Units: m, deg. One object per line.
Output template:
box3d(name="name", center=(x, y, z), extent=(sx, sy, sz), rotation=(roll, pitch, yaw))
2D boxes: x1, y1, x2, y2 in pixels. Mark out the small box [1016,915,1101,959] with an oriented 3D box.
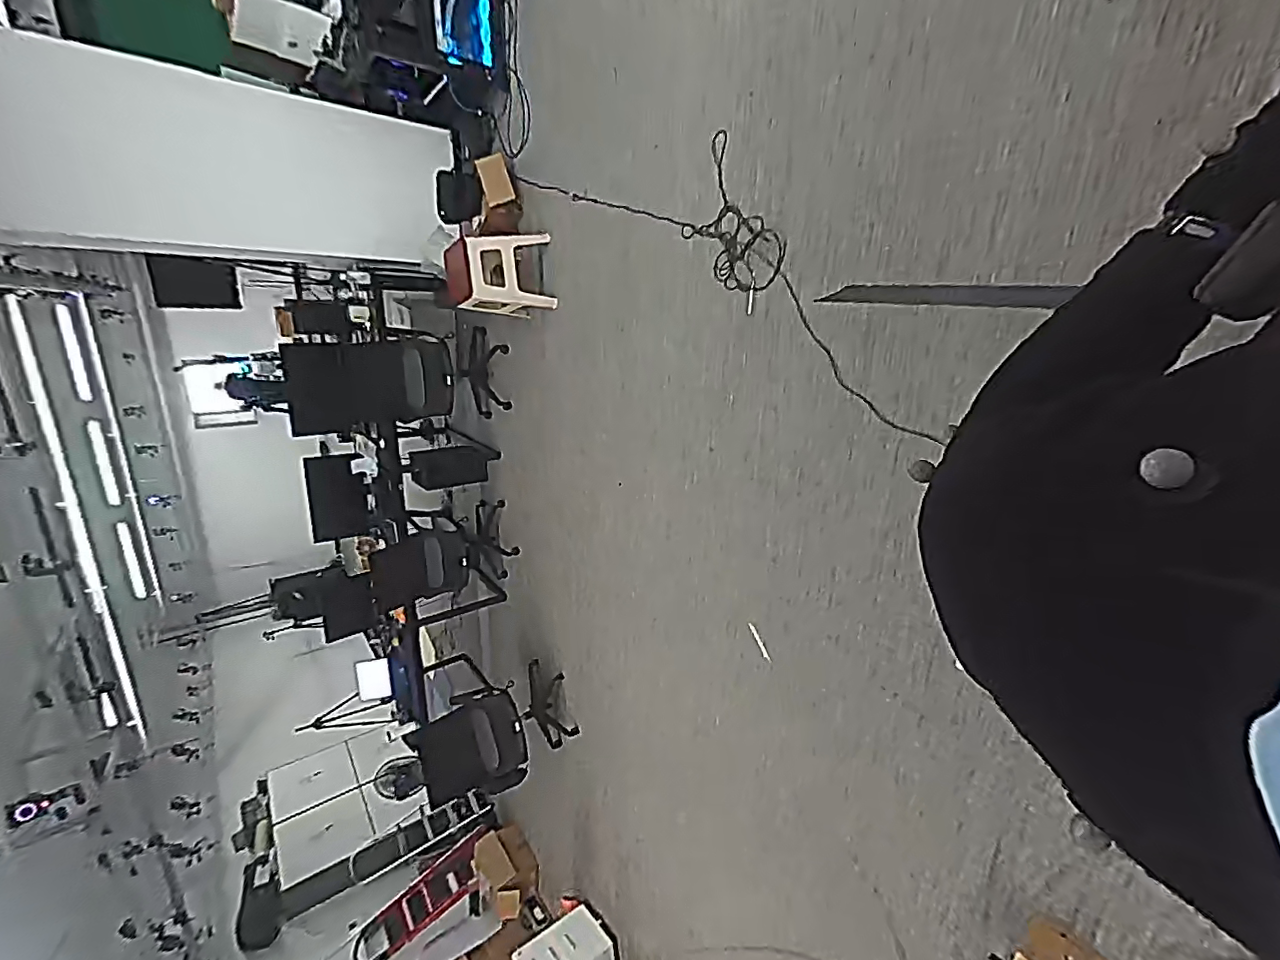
box3d(name="small box", center=(1.069, 1.281, 1.382), extent=(0.168, 0.176, 0.179), rotation=(26, 120, 48))
